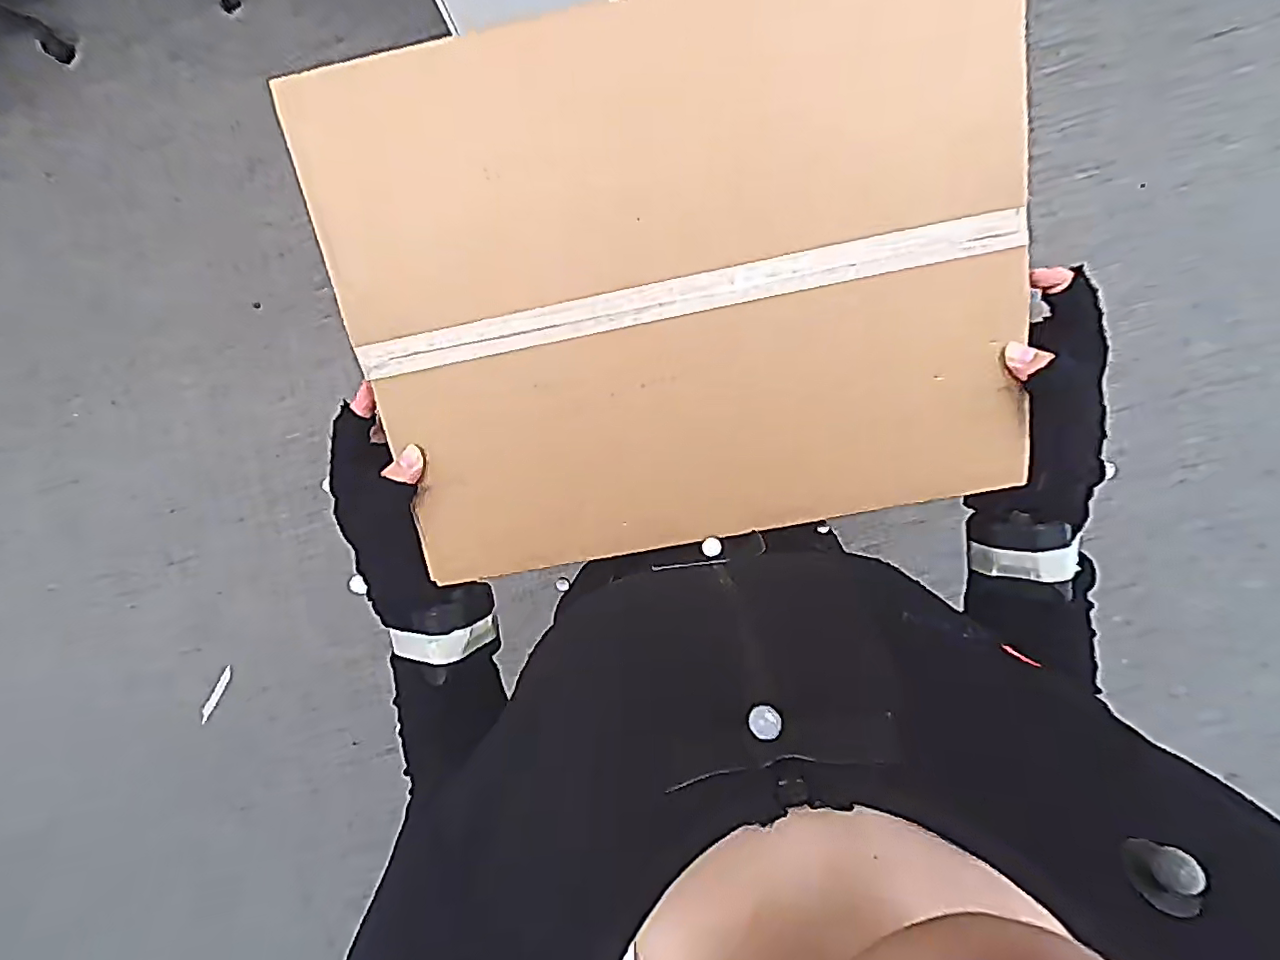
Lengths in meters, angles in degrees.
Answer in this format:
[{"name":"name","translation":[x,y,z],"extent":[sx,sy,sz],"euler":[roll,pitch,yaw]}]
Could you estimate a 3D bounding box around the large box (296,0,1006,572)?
[{"name":"large box","translation":[0.022,-0.153,0.480],"extent":[0.408,0.320,0.320],"euler":[-10,106,3]}]
